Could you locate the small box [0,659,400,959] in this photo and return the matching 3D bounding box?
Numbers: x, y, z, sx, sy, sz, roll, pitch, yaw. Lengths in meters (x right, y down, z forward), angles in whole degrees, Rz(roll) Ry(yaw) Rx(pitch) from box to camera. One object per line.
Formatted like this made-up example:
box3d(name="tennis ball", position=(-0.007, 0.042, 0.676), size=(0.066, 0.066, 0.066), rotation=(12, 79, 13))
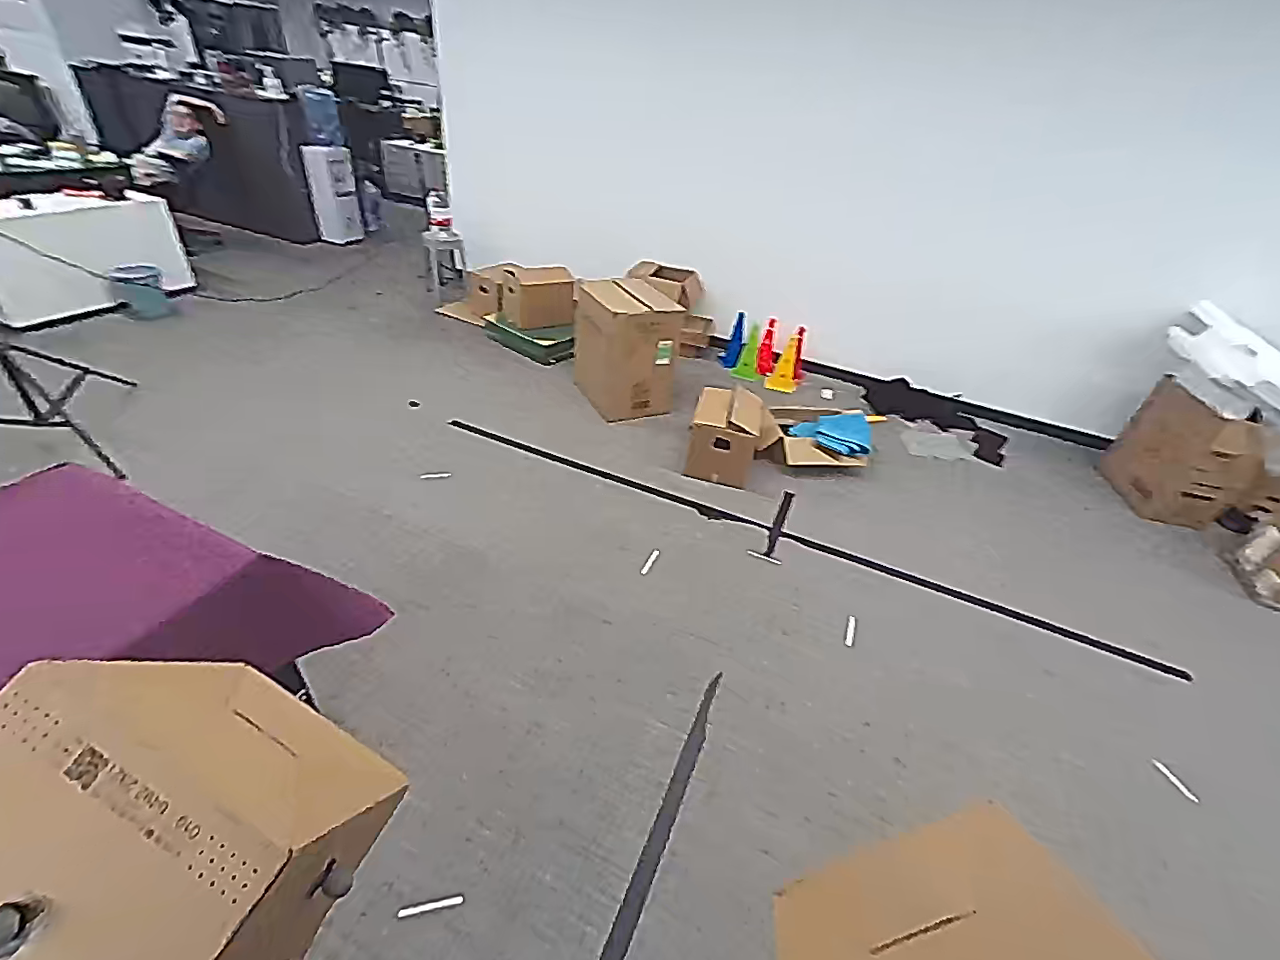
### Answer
box3d(name="small box", position=(-0.273, 0.214, 0.300), size=(0.168, 0.179, 0.176), rotation=(30, 69, 6))
